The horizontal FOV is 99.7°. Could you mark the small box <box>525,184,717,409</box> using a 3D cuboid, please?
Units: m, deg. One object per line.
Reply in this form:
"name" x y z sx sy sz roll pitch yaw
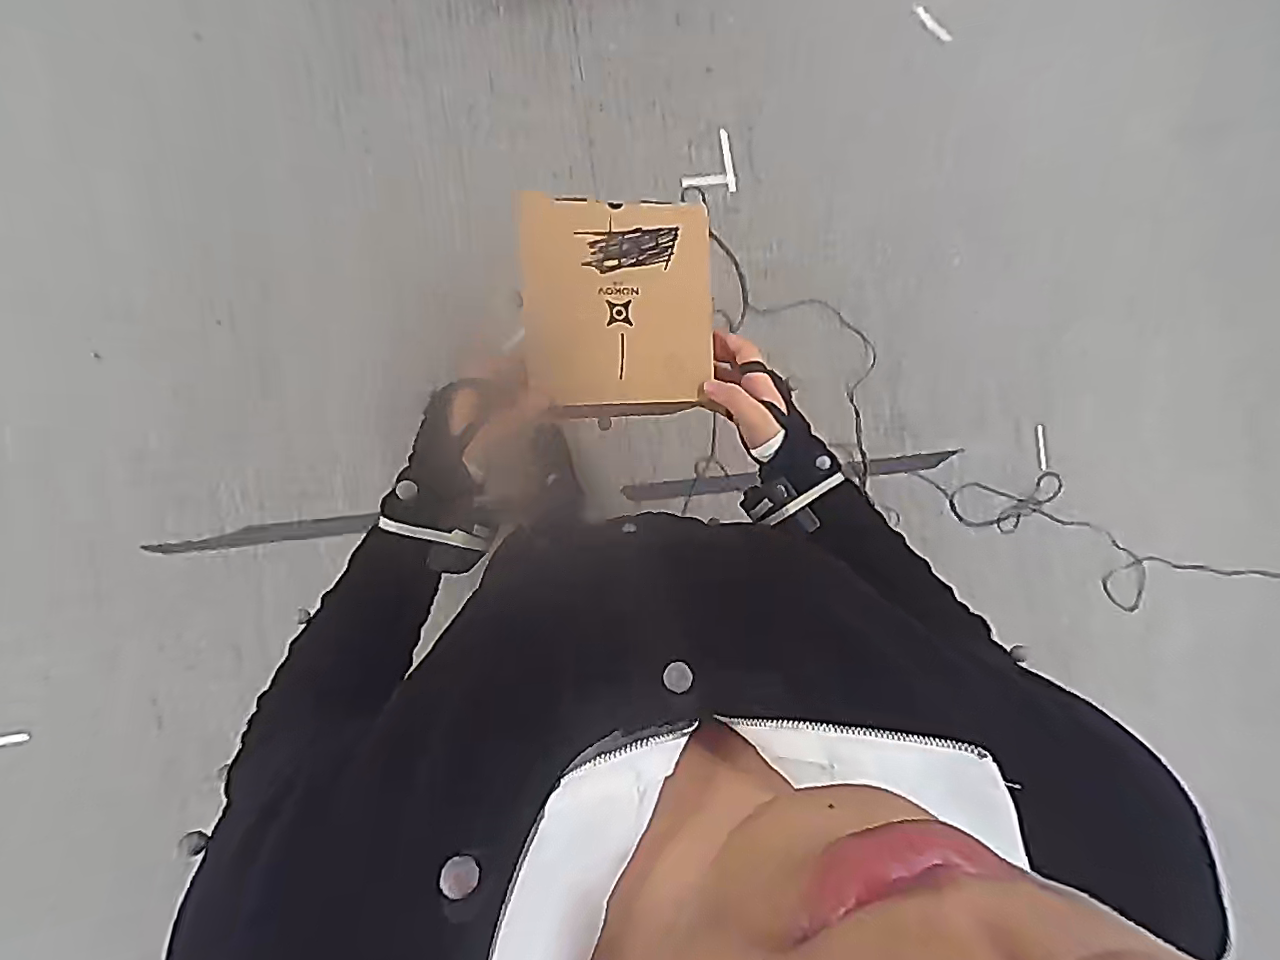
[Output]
"small box" -0.028 -0.169 0.548 0.168 0.176 0.179 -4 93 -9
